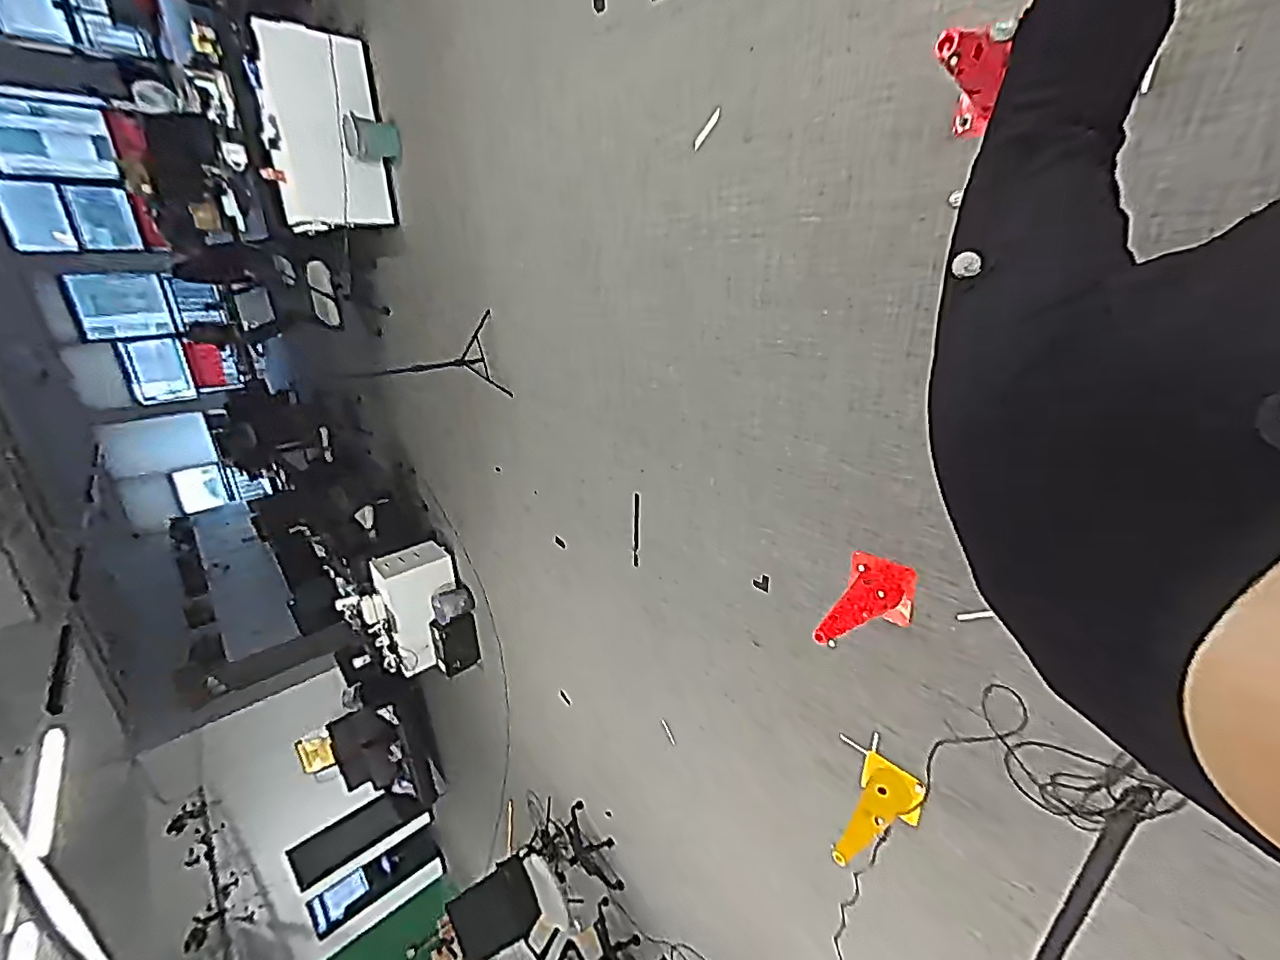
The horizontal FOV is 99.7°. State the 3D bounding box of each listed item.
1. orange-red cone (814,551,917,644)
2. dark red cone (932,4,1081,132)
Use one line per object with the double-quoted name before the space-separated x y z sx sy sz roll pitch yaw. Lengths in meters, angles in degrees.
"orange-red cone" 0.624 0.382 1.576 0.198 0.360 0.199 21 122 46
"dark red cone" 0.634 -0.786 1.005 0.201 0.394 0.202 28 127 39
